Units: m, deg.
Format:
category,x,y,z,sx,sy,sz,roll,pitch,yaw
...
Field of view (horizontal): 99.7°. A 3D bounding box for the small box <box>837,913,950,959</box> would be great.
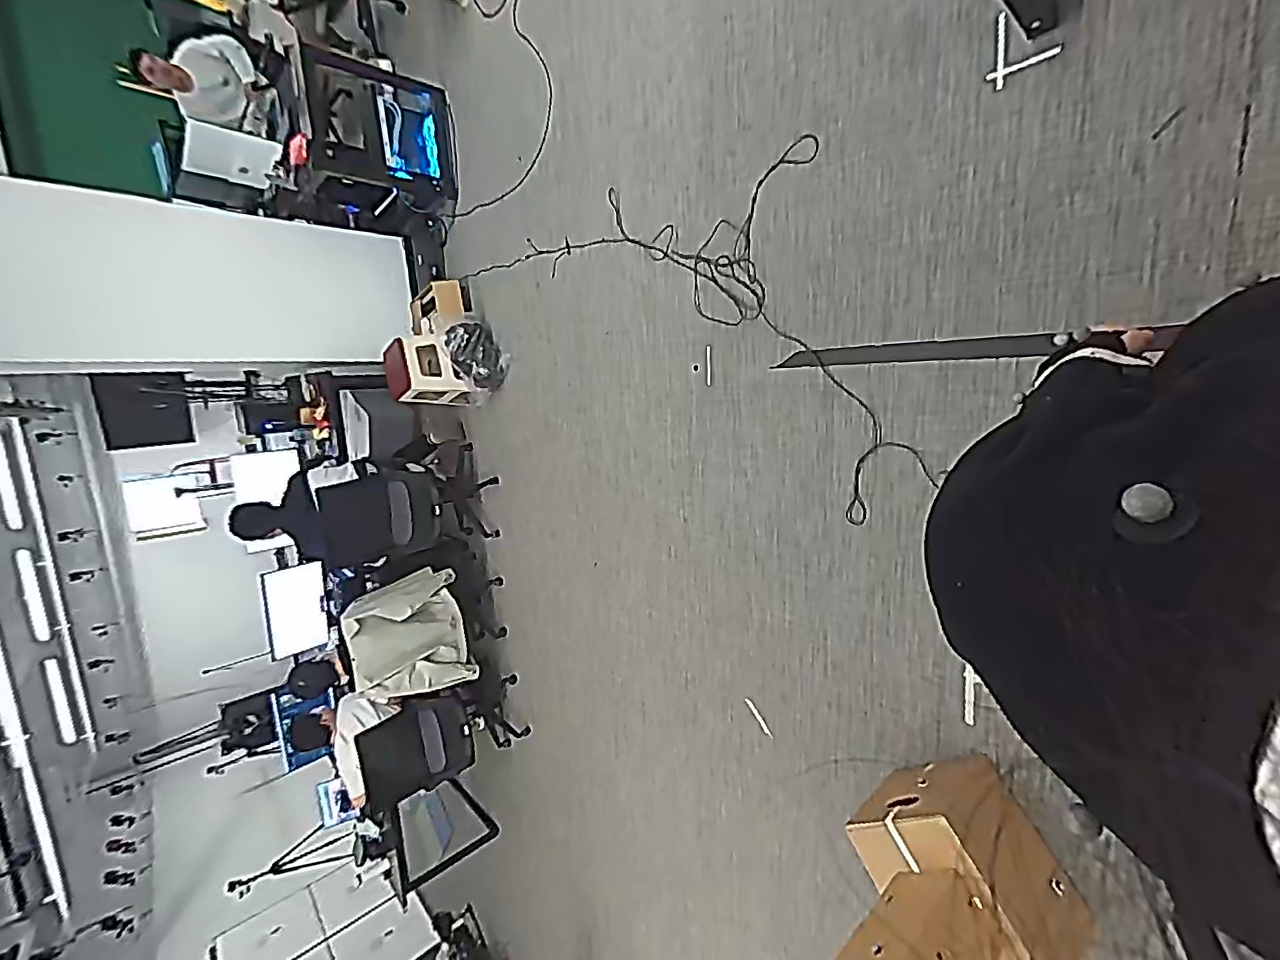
category,x,y,z,sx,sy,sz,roll,pitch,yaw
small box,0.547,1.044,1.127,0.179,0.176,0.168,-48,62,43
